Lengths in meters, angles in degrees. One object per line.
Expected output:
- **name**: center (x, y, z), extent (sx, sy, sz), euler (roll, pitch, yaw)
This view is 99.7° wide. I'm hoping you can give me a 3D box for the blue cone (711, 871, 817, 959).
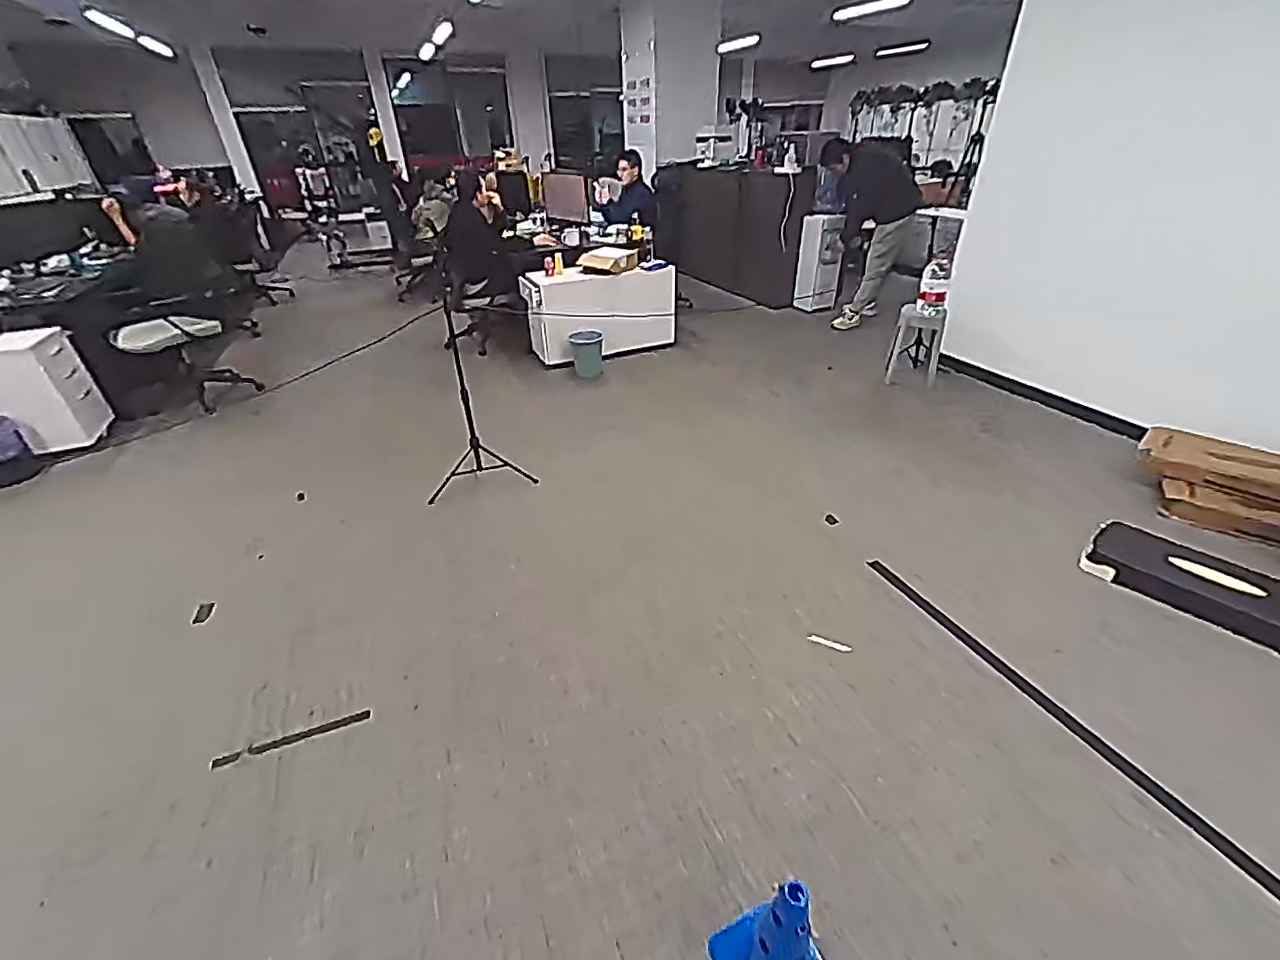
- **blue cone**: center (0.252, 0.828, 0.979), extent (0.193, 0.380, 0.192), euler (-14, 33, -18)
